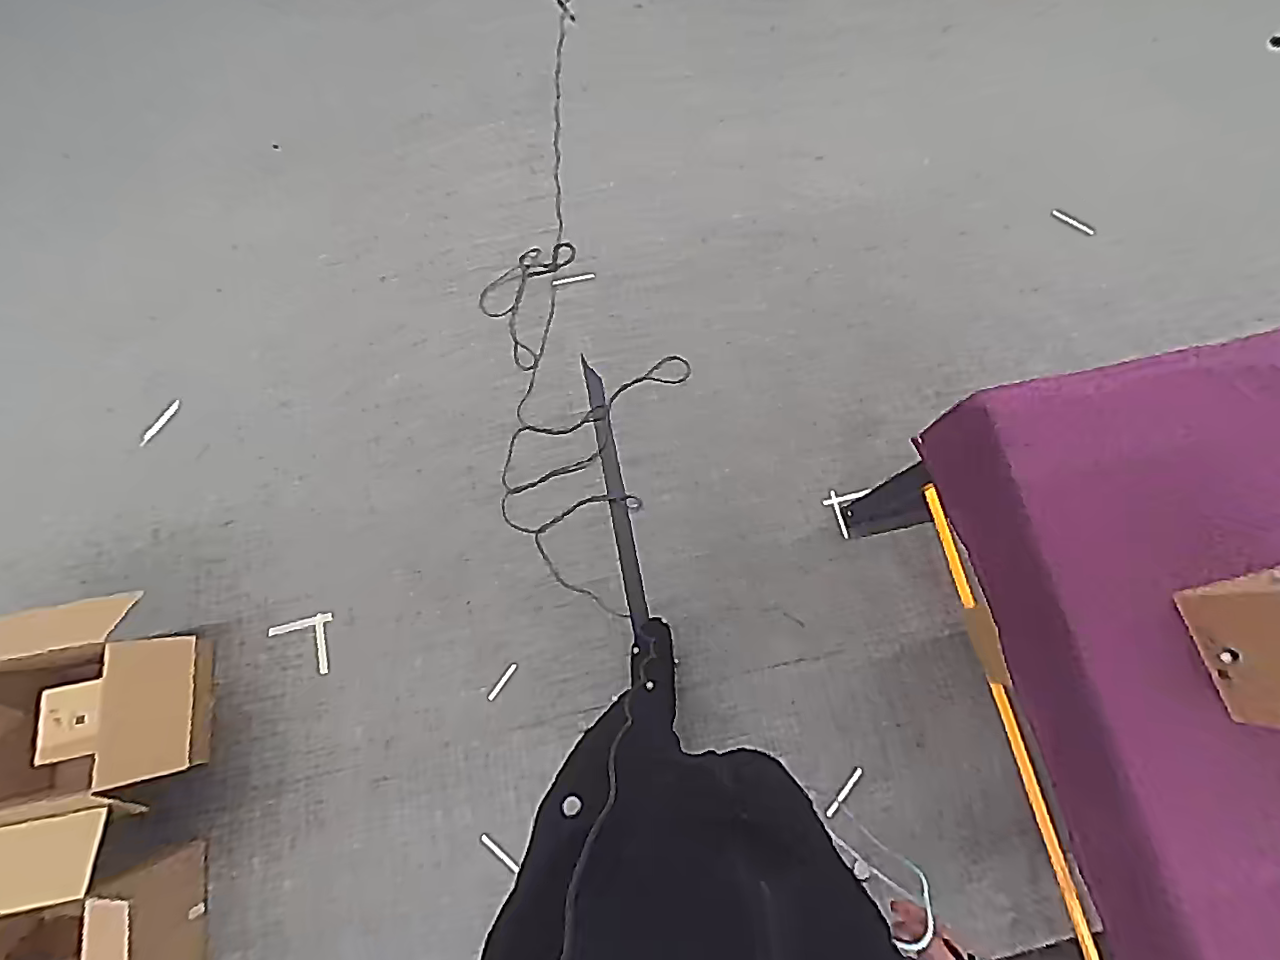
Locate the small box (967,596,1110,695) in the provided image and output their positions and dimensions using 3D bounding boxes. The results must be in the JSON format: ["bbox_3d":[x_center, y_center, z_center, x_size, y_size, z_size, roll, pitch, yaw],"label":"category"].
[{"bbox_3d":[0.891,0.369,1.228,0.168,0.176,0.179,-13,75,-2],"label":"small box"}]
